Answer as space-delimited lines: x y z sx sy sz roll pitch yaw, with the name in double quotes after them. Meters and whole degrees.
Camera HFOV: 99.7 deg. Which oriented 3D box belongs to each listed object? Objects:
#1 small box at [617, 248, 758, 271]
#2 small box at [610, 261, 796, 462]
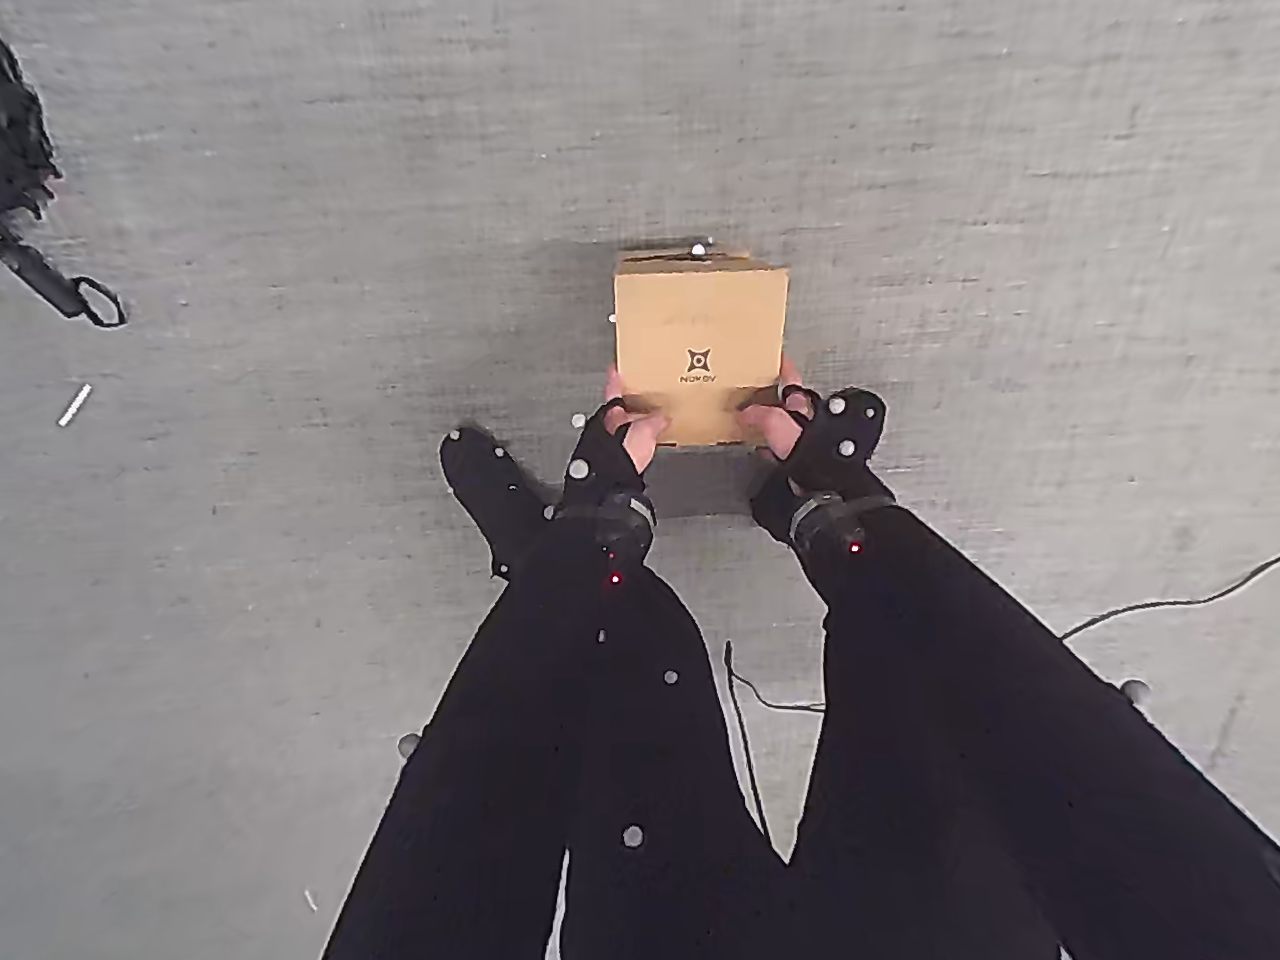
0.056 -0.211 0.724 0.168 0.176 0.179 -4 118 1 "small box"
0.057 -0.134 0.581 0.168 0.176 0.179 -3 116 0 "small box"
